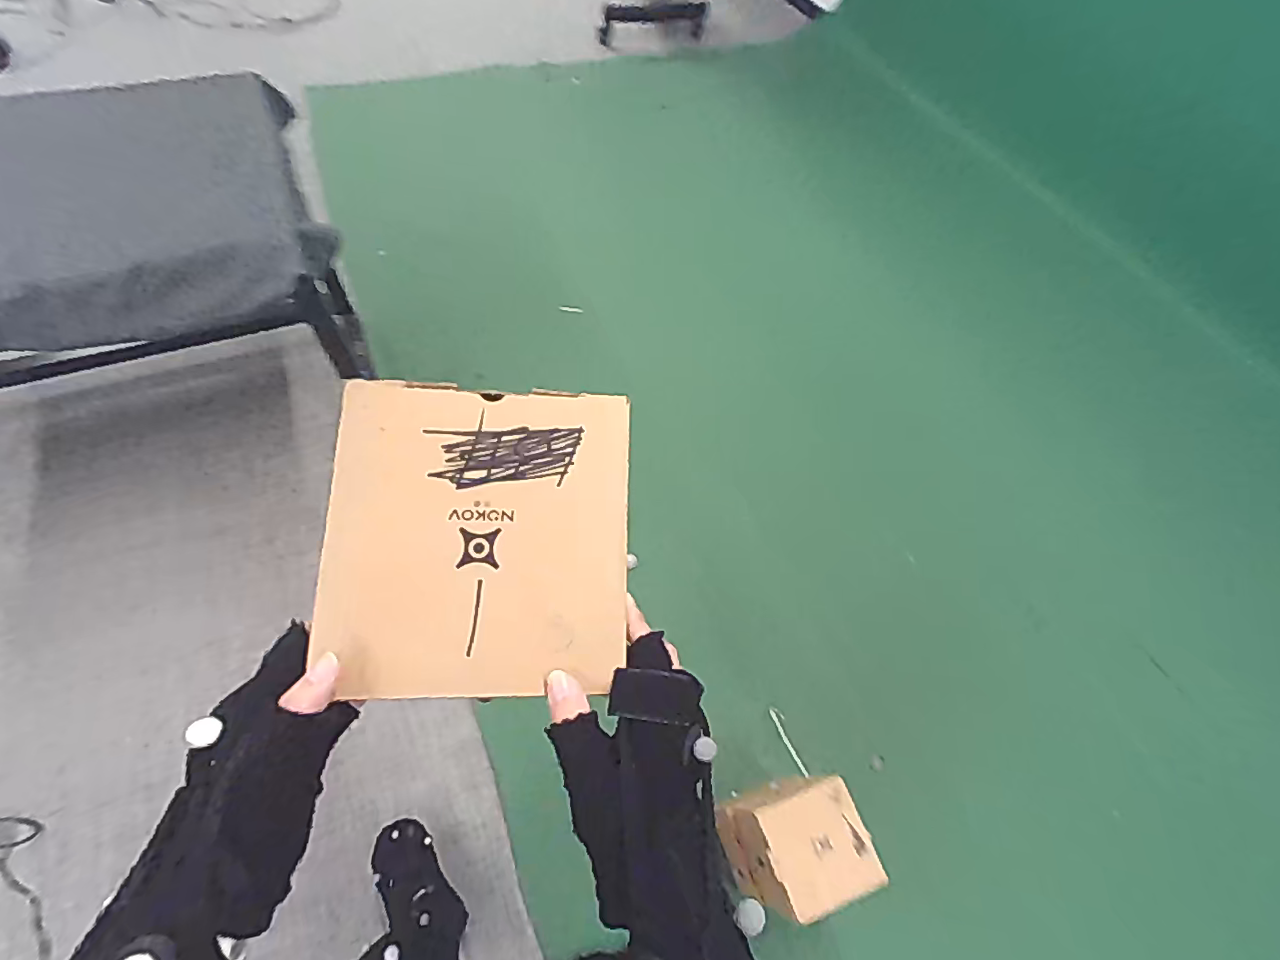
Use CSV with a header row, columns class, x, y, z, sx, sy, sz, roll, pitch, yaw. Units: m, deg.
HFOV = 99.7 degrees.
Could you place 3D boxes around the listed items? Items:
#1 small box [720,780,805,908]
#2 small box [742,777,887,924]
class,x,y,z,sx,sy,sz,roll,pitch,yaw
small box,0.275,0.732,1.104,0.179,0.176,0.168,-13,64,-14
small box,0.299,0.660,0.981,0.179,0.176,0.168,-15,63,-13
